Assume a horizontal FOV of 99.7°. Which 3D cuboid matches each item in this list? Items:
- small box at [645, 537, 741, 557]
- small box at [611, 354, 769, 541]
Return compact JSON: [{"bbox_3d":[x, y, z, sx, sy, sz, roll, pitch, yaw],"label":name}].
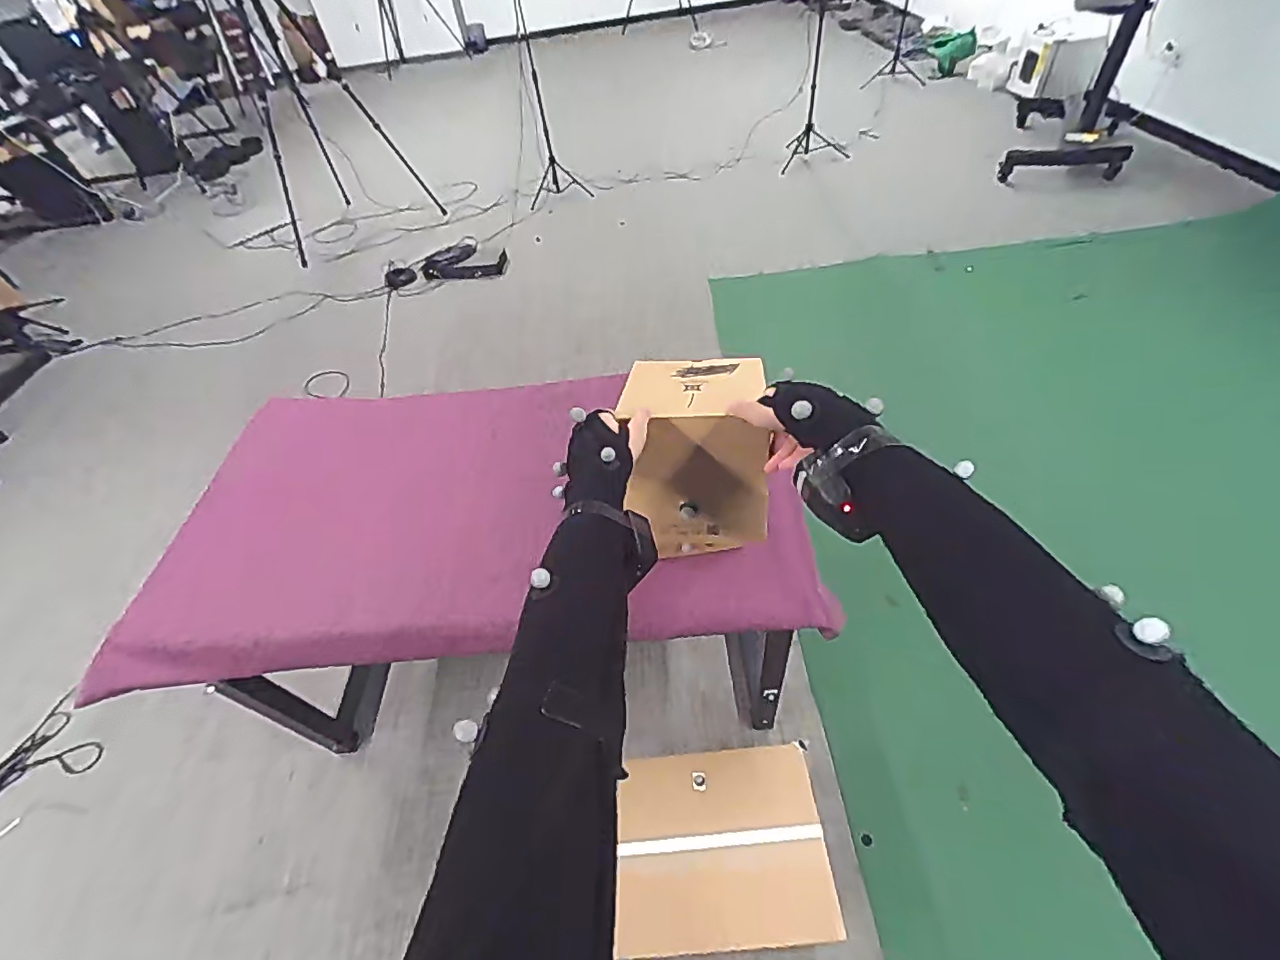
[{"bbox_3d":[0.077,0.005,0.910,0.168,0.176,0.179,-9,47,3],"label":"small box"},{"bbox_3d":[0.067,-0.045,0.664,0.168,0.176,0.179,-1,32,10],"label":"small box"}]
